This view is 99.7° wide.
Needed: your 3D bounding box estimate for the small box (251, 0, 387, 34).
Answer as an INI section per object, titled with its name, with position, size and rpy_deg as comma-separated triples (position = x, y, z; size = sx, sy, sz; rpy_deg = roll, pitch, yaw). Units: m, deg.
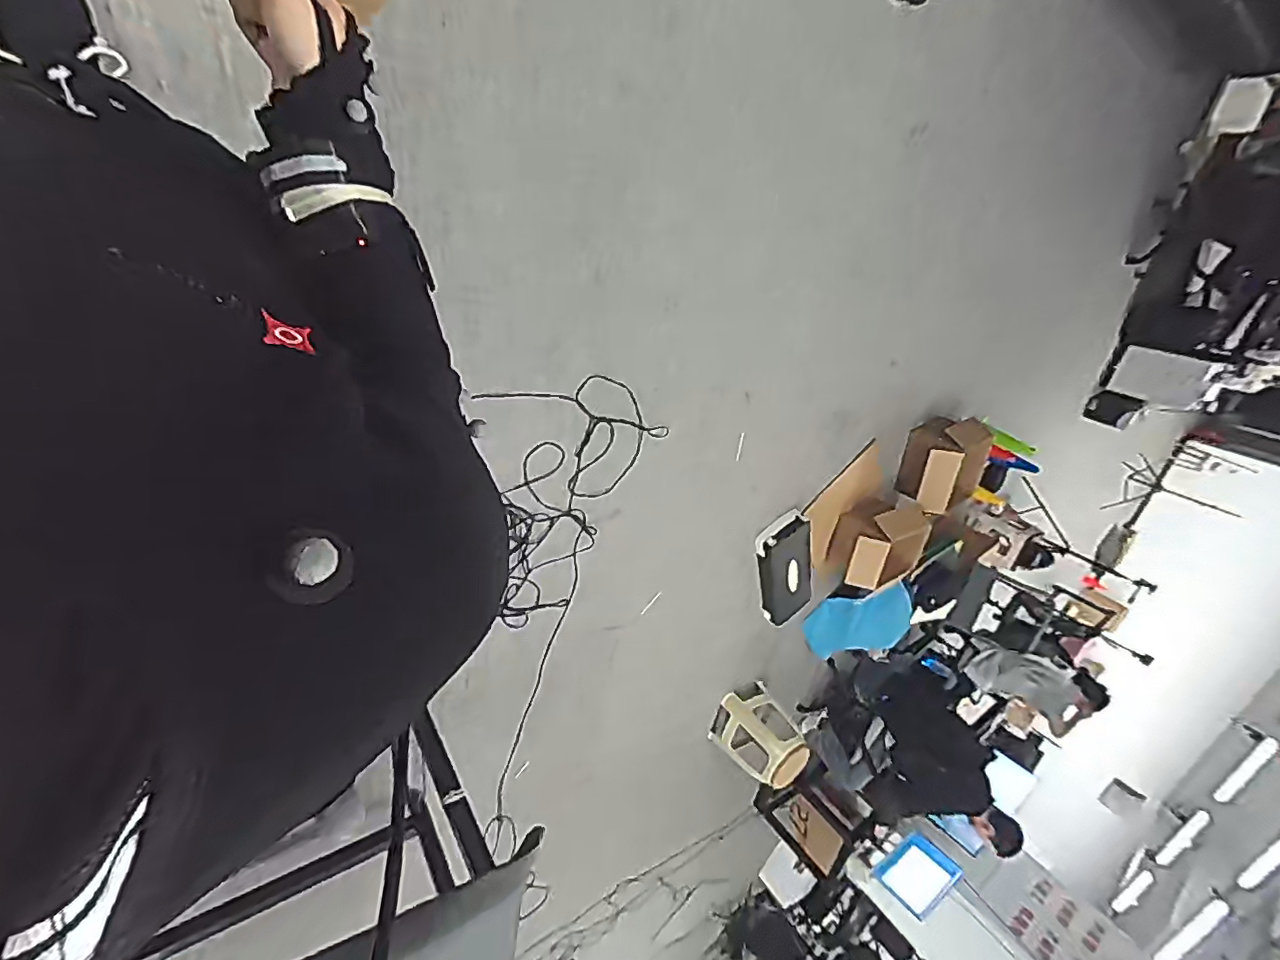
[small box]
position = -0.262, -0.453, 0.361
size = 0.168, 0.176, 0.179
rpy_deg = -5, 112, -39
